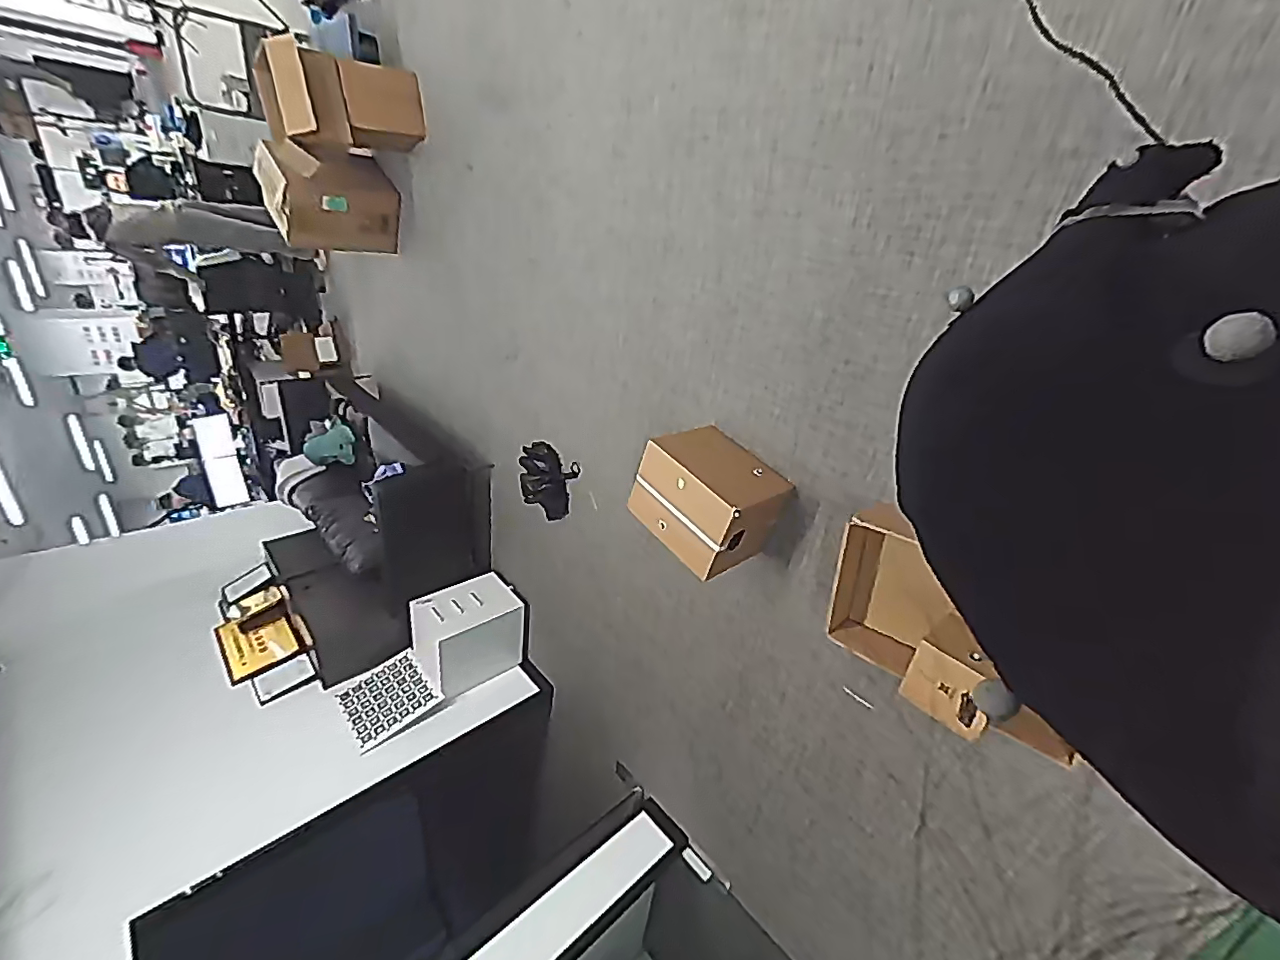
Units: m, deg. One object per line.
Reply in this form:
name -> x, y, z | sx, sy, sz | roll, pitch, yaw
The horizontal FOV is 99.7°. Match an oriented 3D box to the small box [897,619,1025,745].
small box -> 0.722, 0.442, 1.214 | 0.179, 0.176, 0.168 | 32, 125, 41
